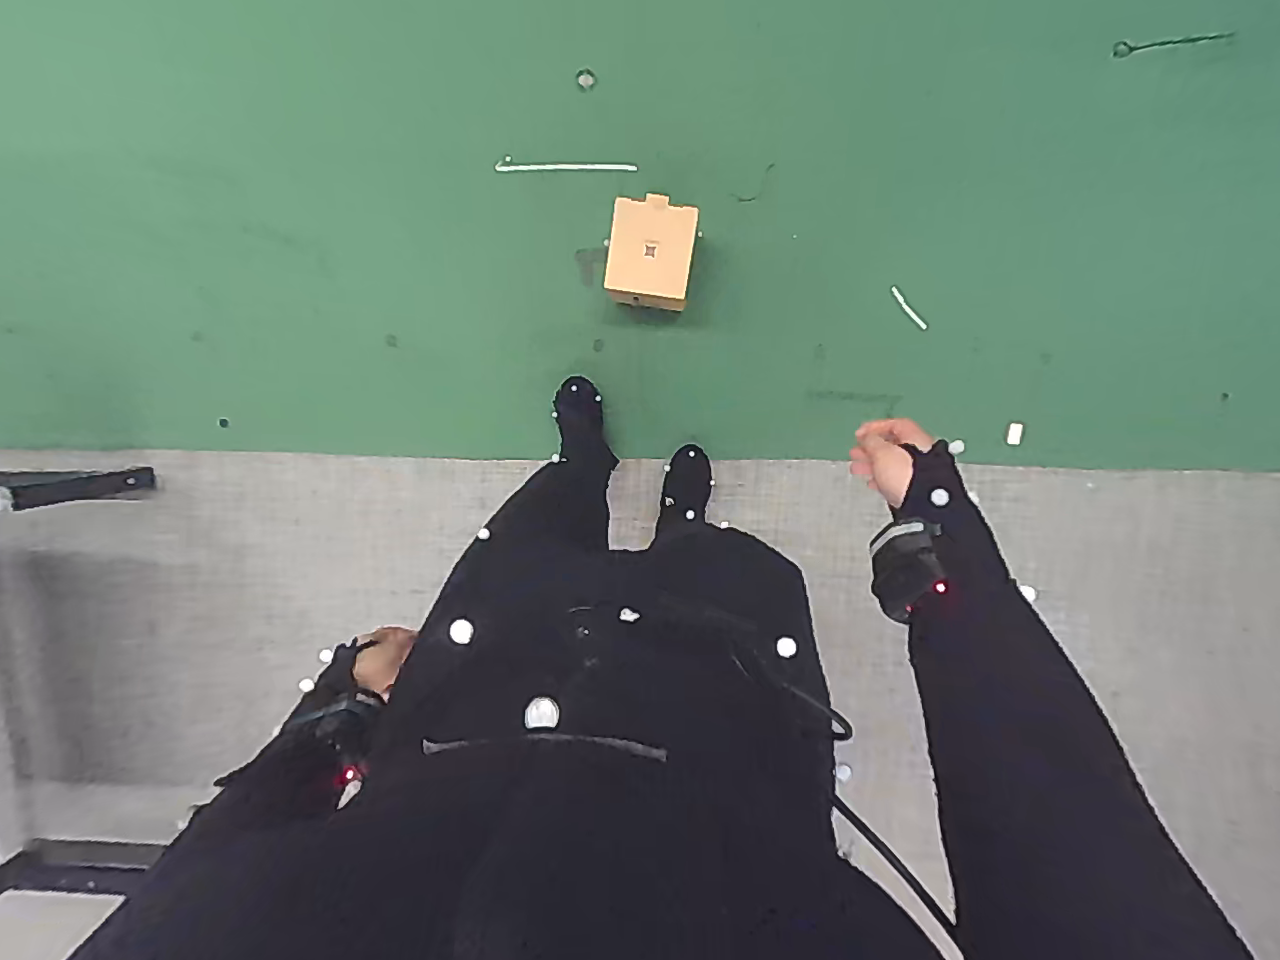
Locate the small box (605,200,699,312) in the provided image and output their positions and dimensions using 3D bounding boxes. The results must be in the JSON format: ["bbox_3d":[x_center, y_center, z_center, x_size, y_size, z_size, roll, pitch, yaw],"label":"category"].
[{"bbox_3d":[0.027,-0.462,1.142,0.168,0.176,0.179,9,99,2],"label":"small box"}]
